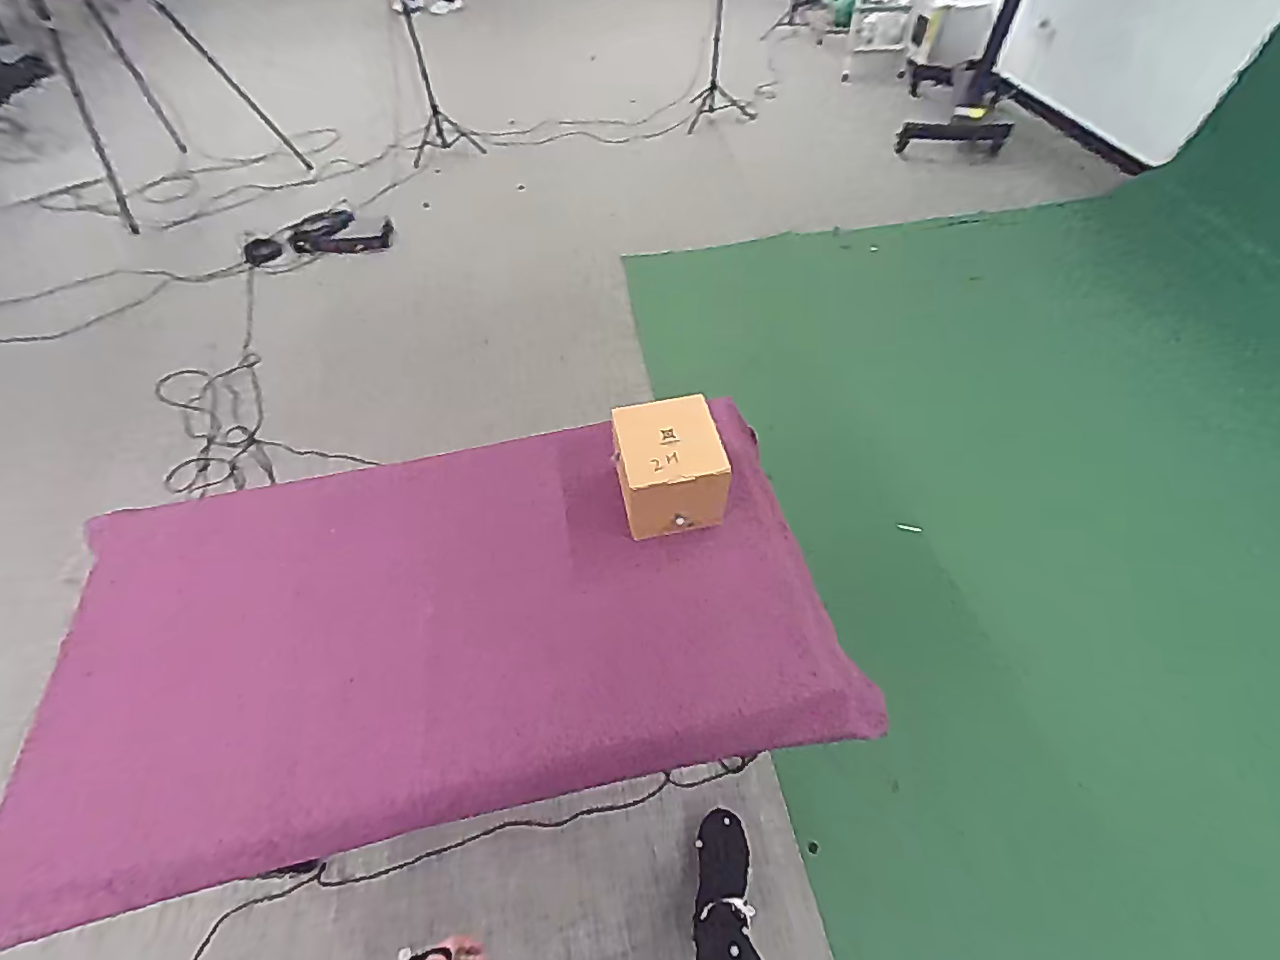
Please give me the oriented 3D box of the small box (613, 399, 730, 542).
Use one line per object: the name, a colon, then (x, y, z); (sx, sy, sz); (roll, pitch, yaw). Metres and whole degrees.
small box: (0.049, -0.015, 0.956); (0.168, 0.176, 0.179); (-10, 56, -5)
